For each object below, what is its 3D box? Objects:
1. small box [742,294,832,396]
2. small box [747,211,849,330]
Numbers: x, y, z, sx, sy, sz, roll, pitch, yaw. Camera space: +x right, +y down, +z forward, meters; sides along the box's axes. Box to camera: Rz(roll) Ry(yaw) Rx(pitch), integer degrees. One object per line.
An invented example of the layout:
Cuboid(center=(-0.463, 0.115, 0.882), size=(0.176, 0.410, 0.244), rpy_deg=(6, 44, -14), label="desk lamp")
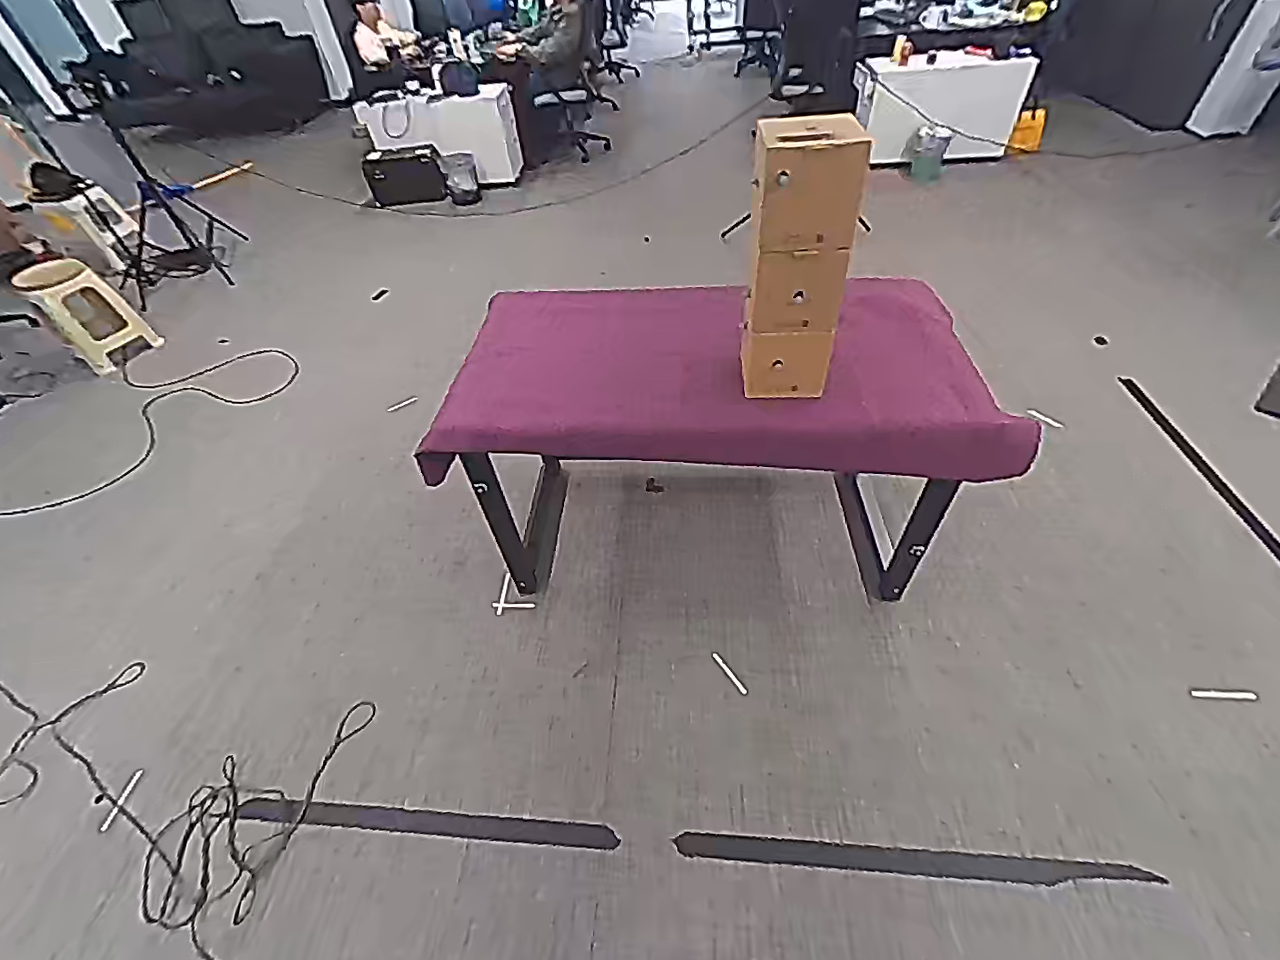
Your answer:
Cuboid(center=(0.317, -0.299, 1.197), size=(0.168, 0.176, 0.179), rpy_deg=(0, 47, 6), label="small box")
Cuboid(center=(0.306, -0.414, 1.081), size=(0.168, 0.176, 0.179), rpy_deg=(1, 47, 6), label="small box")
